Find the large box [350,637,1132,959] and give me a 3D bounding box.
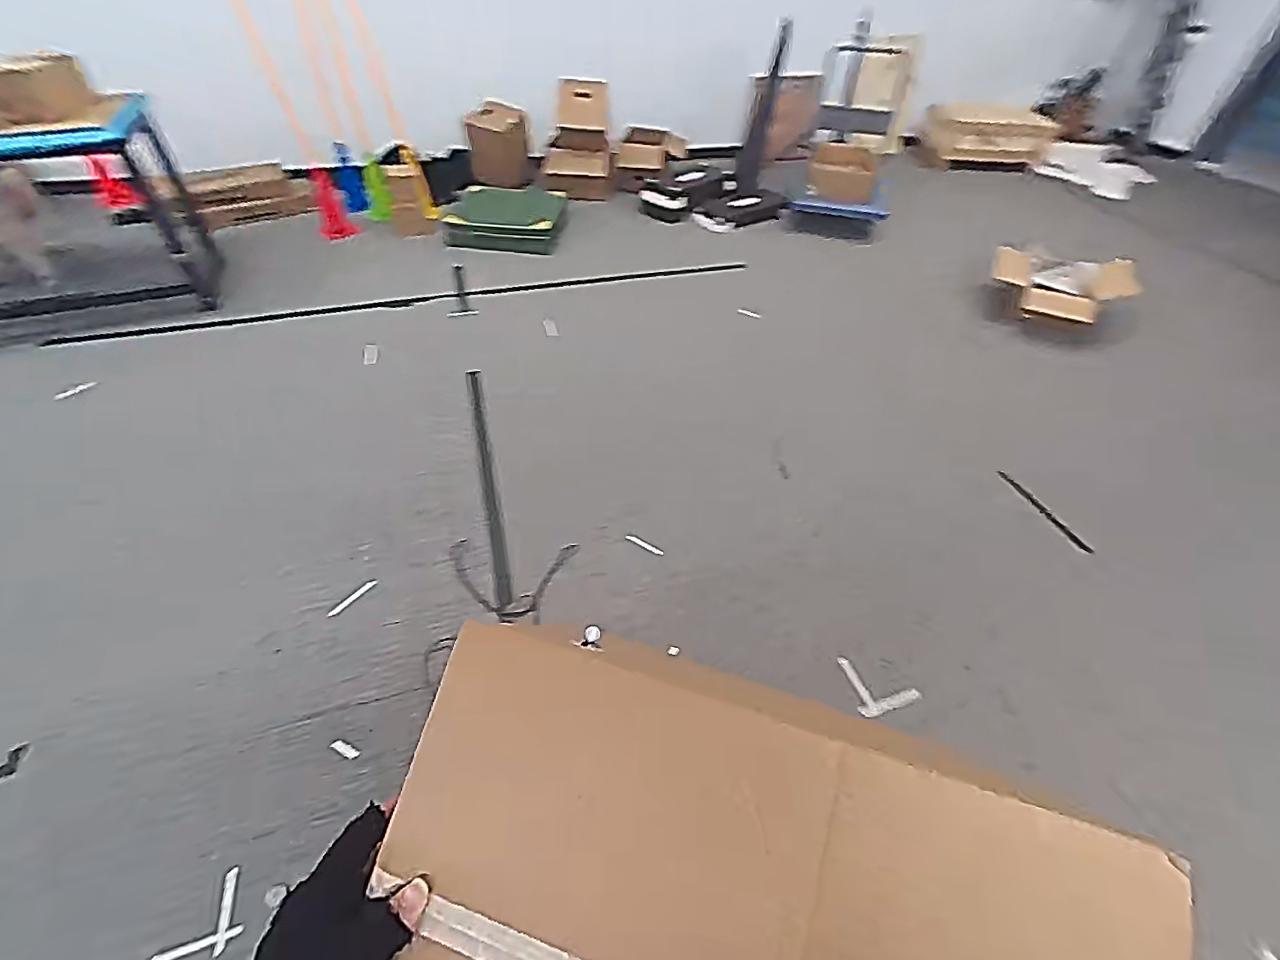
[{"bbox_3d":[0.049,0.328,0.428,0.408,0.320,0.320,13,77,12],"label":"large box"}]
